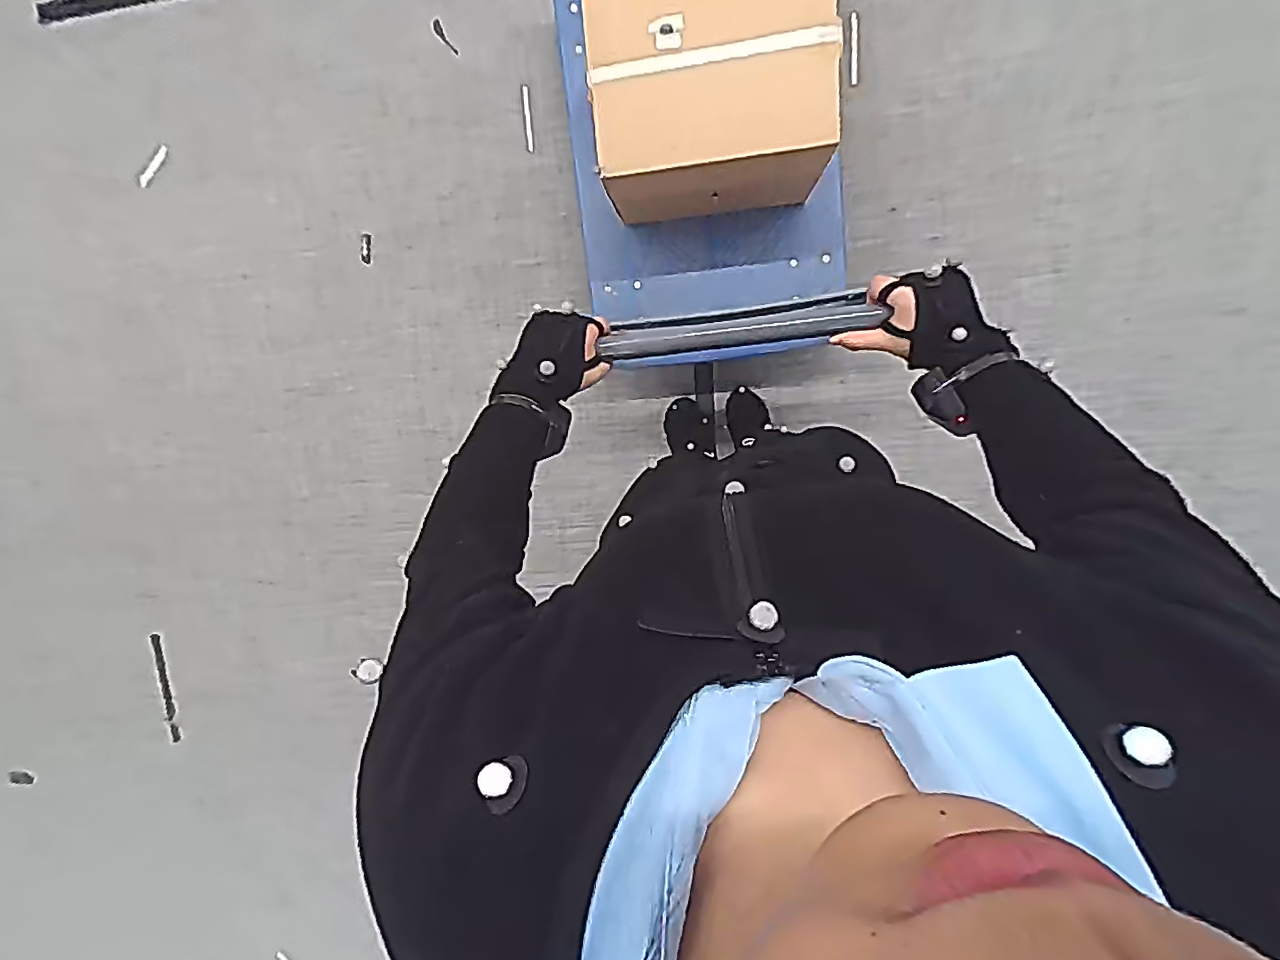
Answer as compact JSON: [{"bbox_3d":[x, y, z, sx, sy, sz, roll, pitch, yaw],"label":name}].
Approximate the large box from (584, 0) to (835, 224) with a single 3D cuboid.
[{"bbox_3d":[0.136,-0.724,1.049,0.408,0.320,0.320,-4,100,9],"label":"large box"}]
